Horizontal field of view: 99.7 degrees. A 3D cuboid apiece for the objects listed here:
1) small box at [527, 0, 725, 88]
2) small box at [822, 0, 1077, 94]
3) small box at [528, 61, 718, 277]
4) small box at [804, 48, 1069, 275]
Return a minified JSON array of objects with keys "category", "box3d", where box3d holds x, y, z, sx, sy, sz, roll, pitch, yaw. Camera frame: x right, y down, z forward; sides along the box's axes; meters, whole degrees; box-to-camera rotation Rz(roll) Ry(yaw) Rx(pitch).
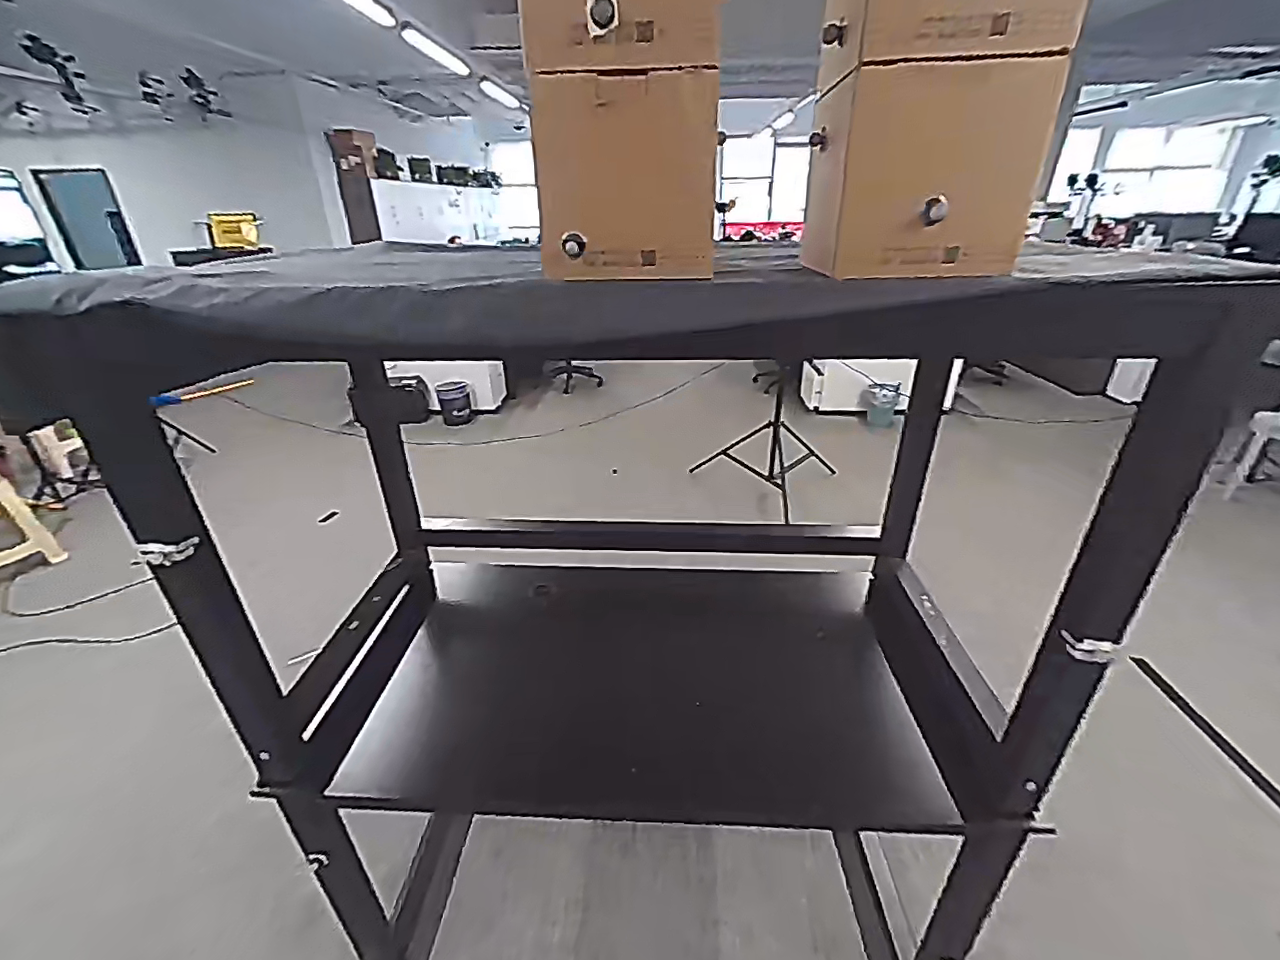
[{"category":"small box","box3d":[-0.008,-0.451,0.491,0.168,0.176,0.179,0,26,5]},{"category":"small box","box3d":[0.265,-0.450,0.471,0.168,0.176,0.179,1,27,5]},{"category":"small box","box3d":[-0.007,-0.303,0.559,0.168,0.176,0.179,1,24,4]},{"category":"small box","box3d":[0.268,-0.302,0.542,0.168,0.176,0.179,0,26,5]}]
